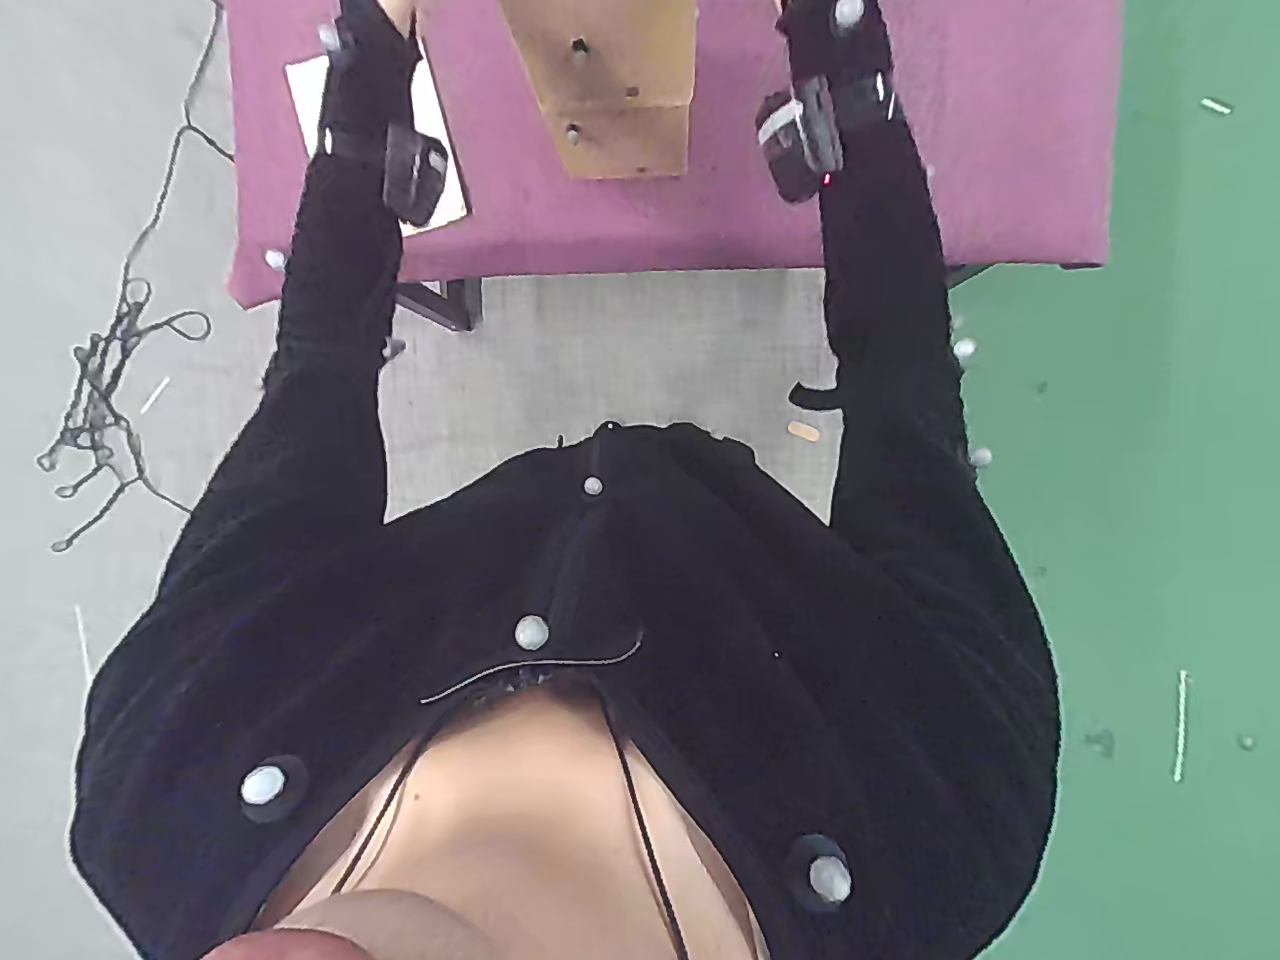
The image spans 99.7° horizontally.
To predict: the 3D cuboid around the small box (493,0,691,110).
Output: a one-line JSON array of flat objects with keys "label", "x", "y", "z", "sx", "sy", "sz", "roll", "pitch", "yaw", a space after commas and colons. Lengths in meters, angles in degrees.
[{"label": "small box", "x": -0.034, "y": -0.482, "z": 0.509, "sx": 0.168, "sy": 0.176, "sz": 0.179, "roll": 0, "pitch": 92, "yaw": 3}]
